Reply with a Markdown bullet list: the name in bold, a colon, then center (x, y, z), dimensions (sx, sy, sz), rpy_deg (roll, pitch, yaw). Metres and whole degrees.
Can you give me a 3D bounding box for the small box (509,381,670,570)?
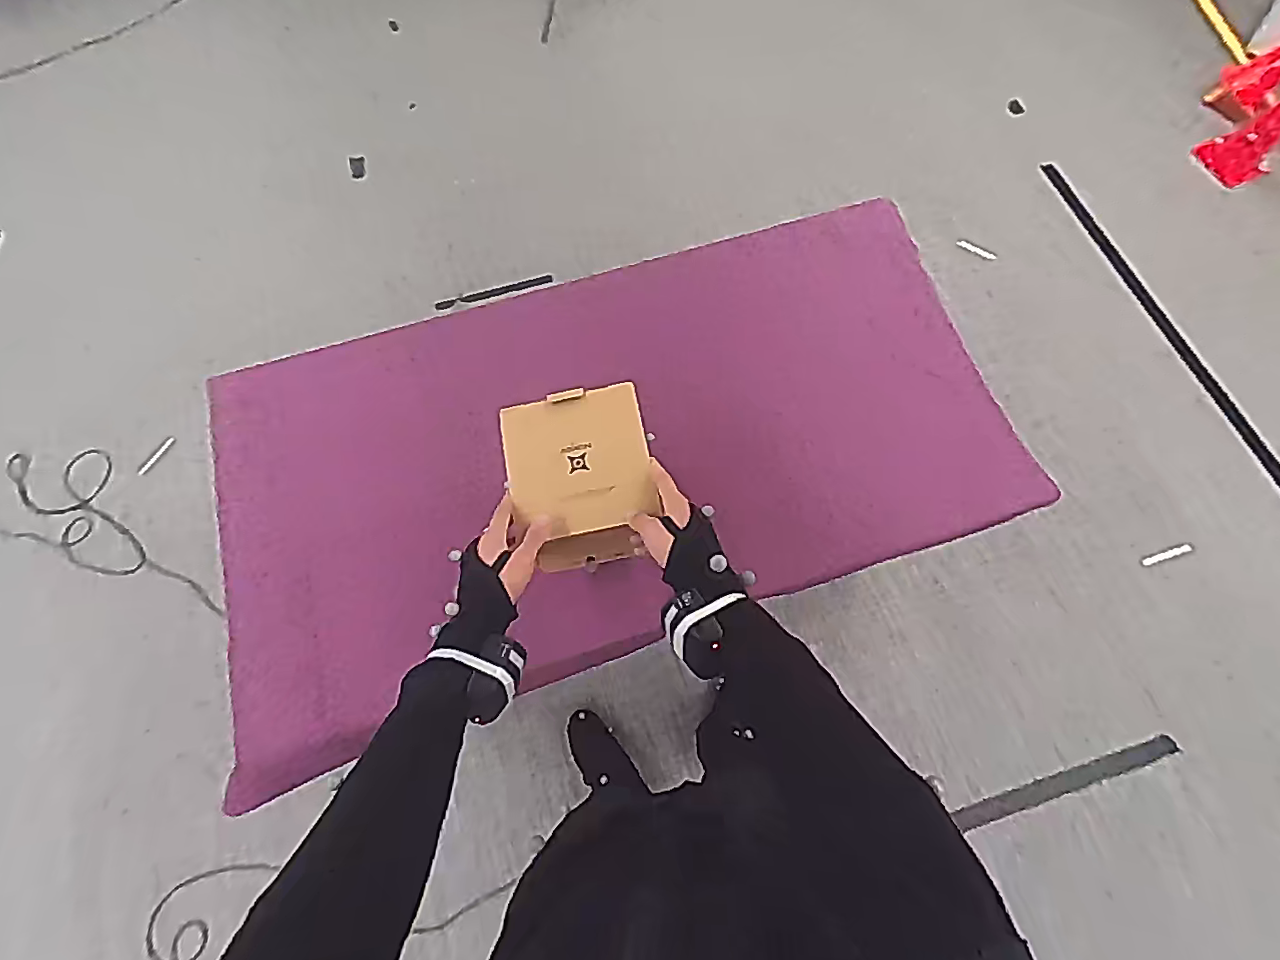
- **small box**: center (-0.059, 0.002, 0.686), dimensions (0.168, 0.176, 0.179), rpy_deg (-11, 70, -1)
